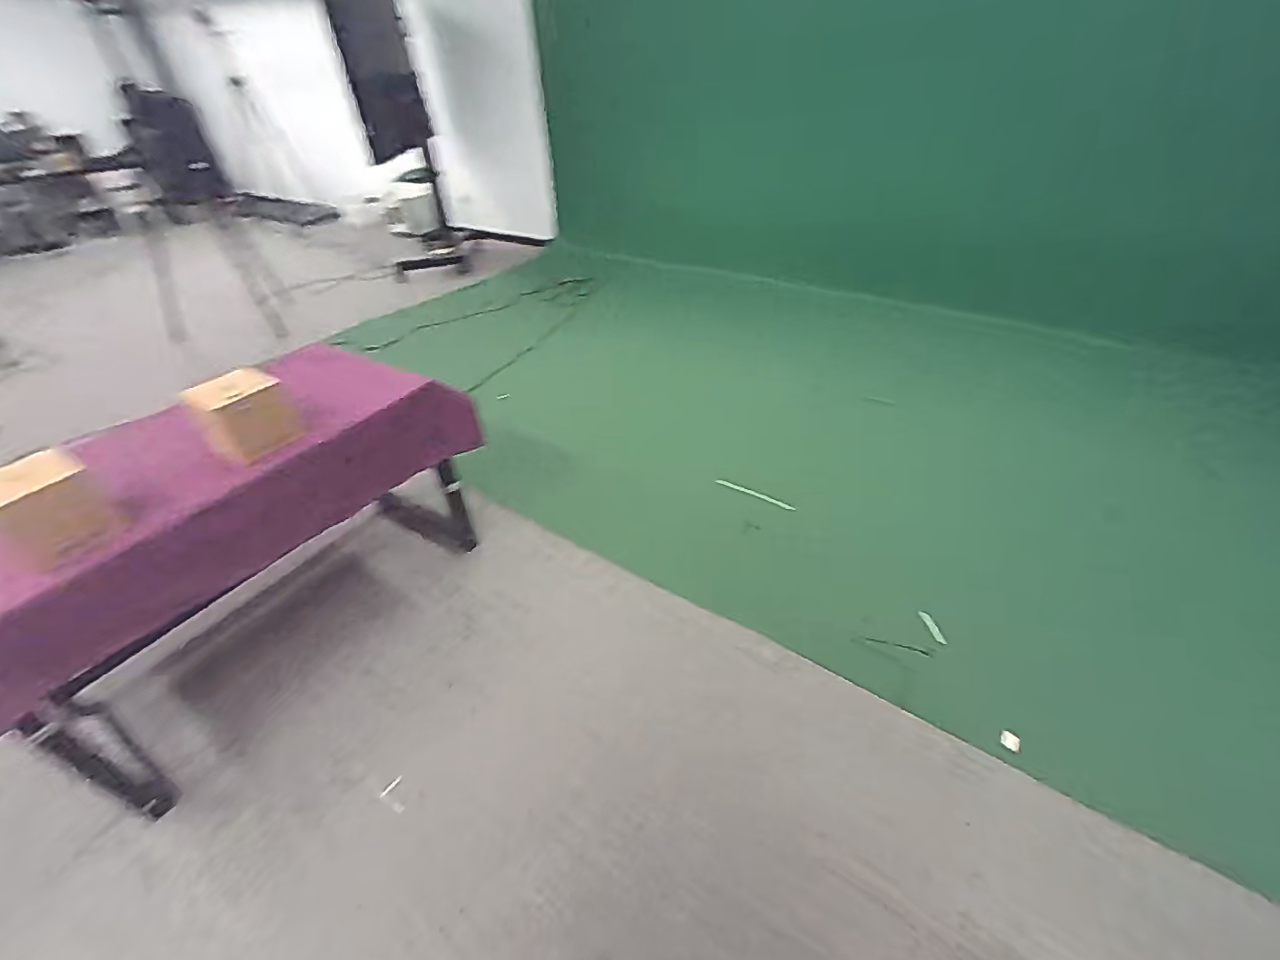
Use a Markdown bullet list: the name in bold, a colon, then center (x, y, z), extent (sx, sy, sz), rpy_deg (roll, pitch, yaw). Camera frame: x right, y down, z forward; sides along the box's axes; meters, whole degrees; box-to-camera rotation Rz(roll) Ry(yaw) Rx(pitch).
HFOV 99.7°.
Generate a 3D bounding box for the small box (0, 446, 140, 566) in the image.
- **small box**: center (-1.242, 0.057, 1.159), extent (0.179, 0.176, 0.168), rpy_deg (21, 45, 27)

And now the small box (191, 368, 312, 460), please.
- **small box**: center (-1.021, -0.174, 1.432), extent (0.179, 0.176, 0.168), rpy_deg (19, 45, 27)
